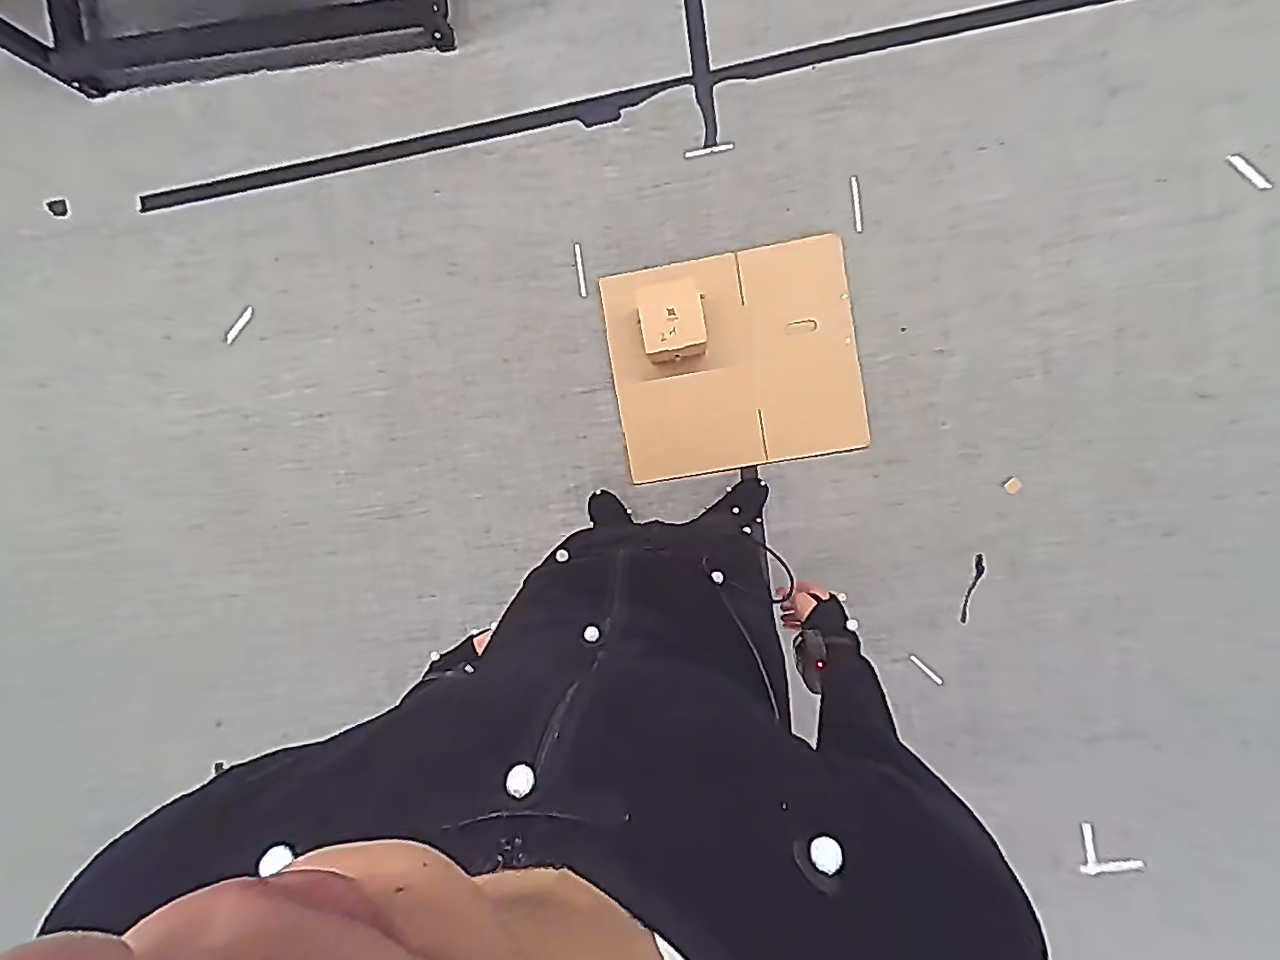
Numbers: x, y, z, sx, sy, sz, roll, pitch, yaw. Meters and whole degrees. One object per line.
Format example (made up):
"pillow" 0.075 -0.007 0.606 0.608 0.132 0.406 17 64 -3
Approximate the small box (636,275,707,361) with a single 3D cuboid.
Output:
"small box" 0.087 -0.436 1.480 0.168 0.176 0.179 -9 94 6
